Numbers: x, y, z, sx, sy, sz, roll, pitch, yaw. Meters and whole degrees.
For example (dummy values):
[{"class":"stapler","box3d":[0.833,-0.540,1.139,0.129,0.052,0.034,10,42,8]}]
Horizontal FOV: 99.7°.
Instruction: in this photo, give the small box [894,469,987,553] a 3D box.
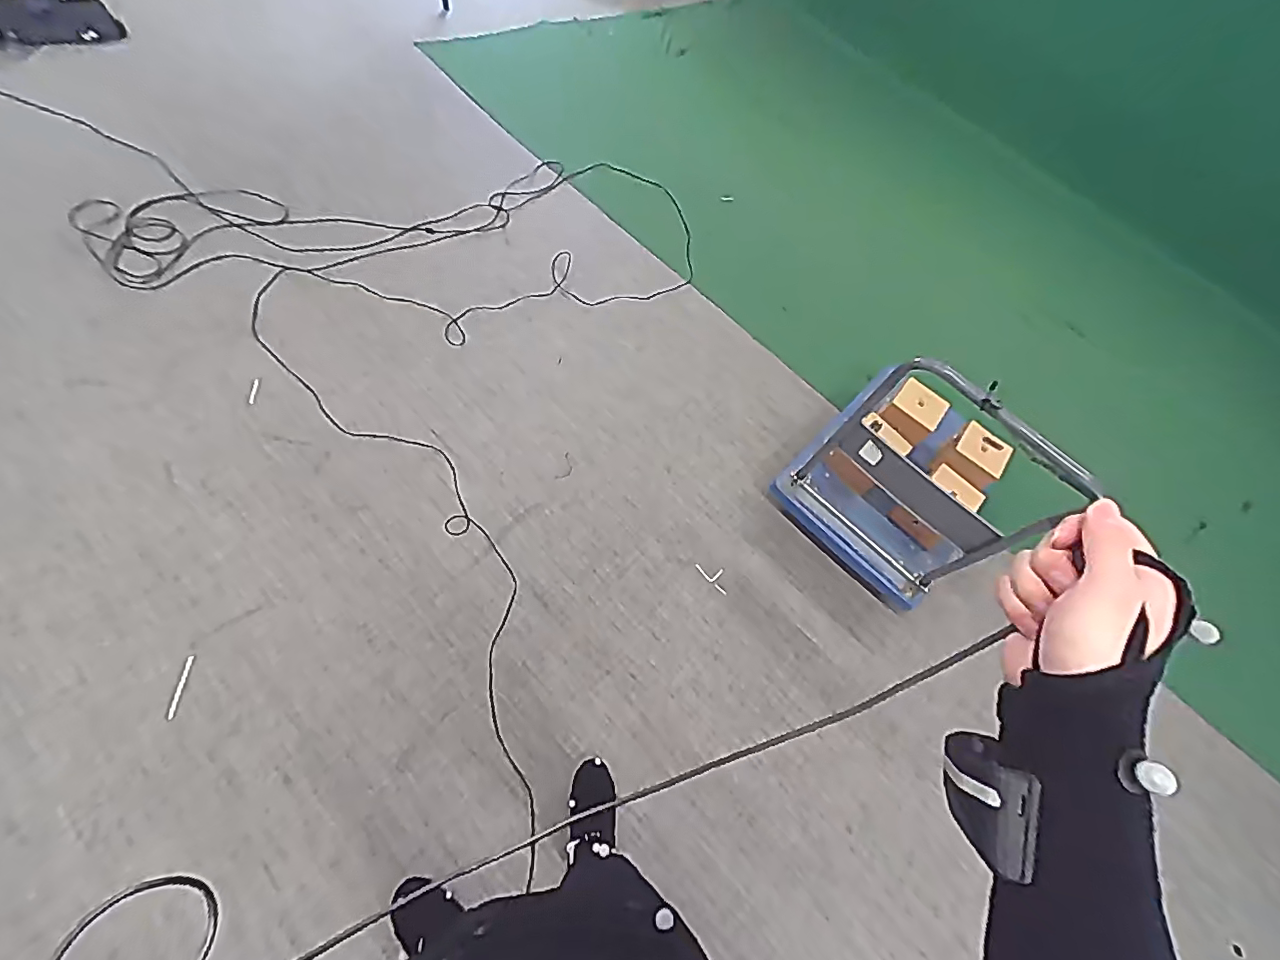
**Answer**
[{"class":"small box","box3d":[0.959,0.101,1.738,0.168,0.176,0.179,44,61,13]}]

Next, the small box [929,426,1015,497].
[{"class":"small box","box3d":[1.141,-0.048,1.870,0.168,0.176,0.179,40,60,12]}]

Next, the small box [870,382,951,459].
[{"class":"small box","box3d":[0.950,-0.205,1.917,0.168,0.176,0.179,40,59,10]}]
